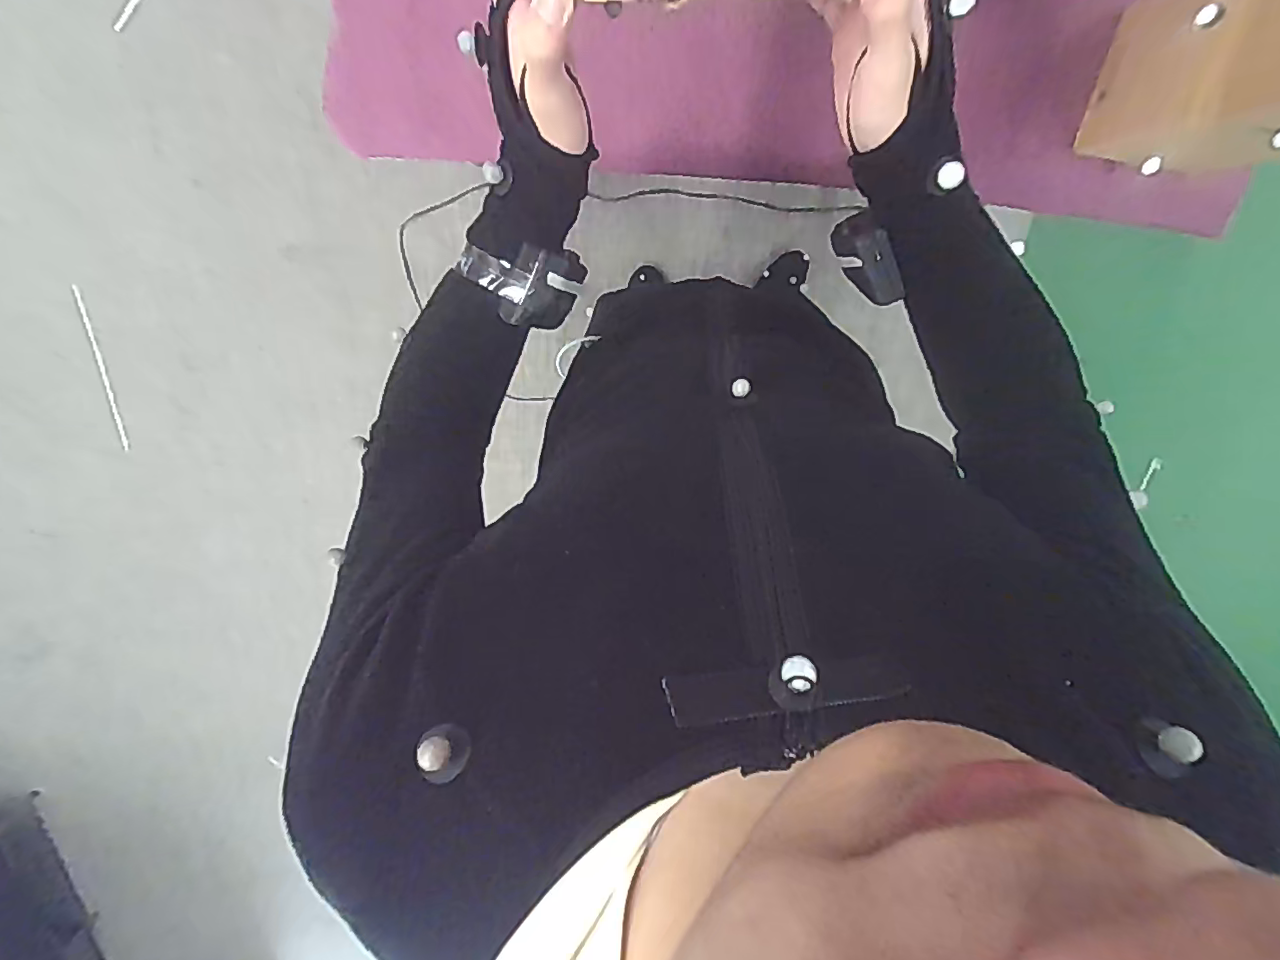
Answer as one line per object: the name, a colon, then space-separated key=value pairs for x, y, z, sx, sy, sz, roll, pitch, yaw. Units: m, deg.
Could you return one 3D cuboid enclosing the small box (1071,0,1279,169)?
small box: x=0.674 y=-0.477 z=0.631 sx=0.179 sy=0.176 sz=0.168 roll=7 pitch=111 yaw=-4
